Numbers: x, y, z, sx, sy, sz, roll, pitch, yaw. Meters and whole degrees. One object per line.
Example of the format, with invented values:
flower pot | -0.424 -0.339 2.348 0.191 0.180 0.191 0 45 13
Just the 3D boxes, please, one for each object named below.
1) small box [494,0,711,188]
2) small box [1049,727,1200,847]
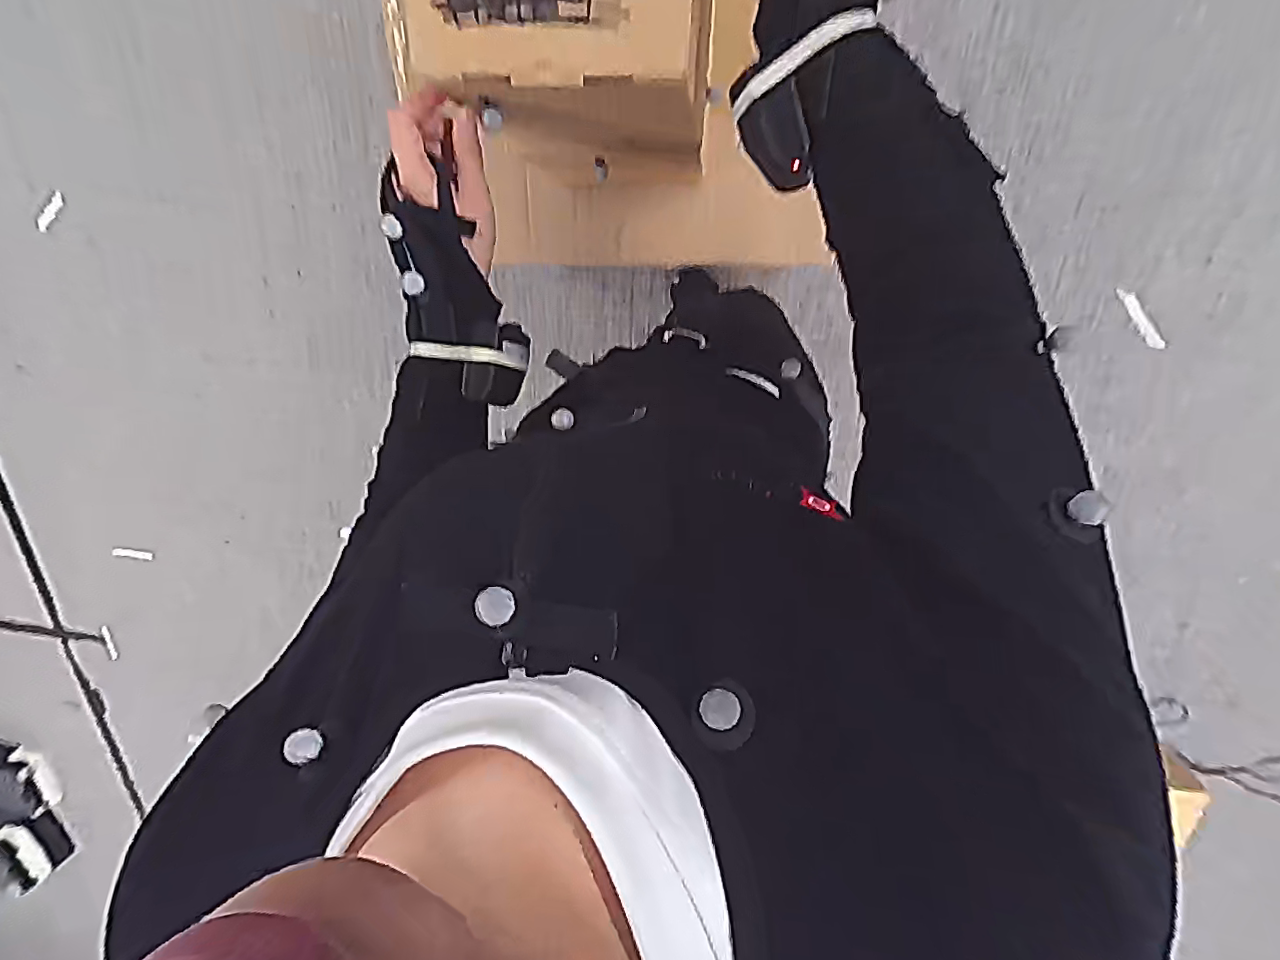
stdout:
small box | -0.024 -0.386 0.518 0.179 0.176 0.168 4 111 8
small box | 1.101 0.700 1.247 0.179 0.176 0.168 4 110 8
